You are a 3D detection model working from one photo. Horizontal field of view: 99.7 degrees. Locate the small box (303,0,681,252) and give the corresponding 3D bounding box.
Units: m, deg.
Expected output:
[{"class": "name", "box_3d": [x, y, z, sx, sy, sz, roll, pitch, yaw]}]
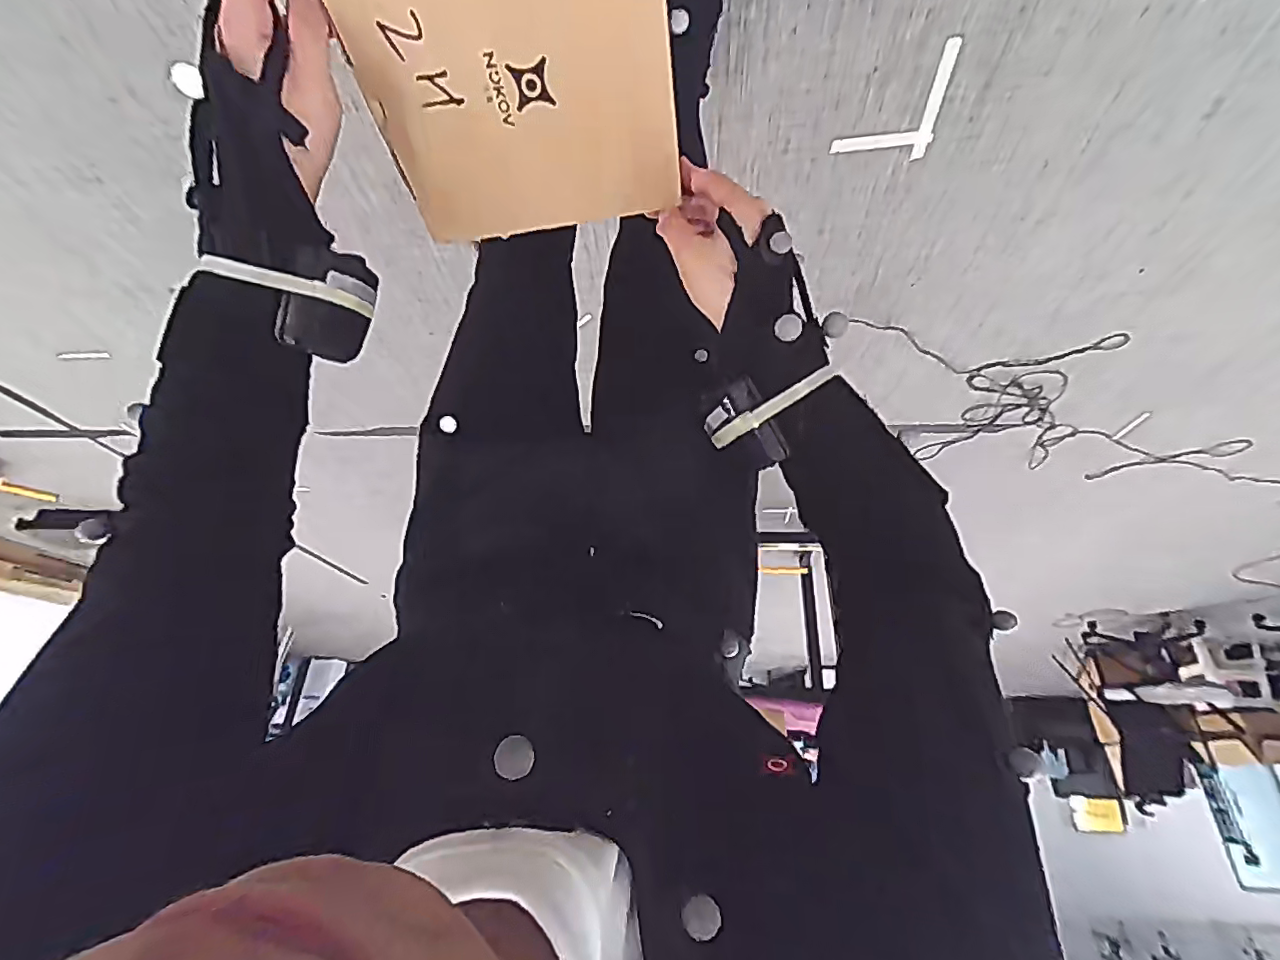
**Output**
[{"class": "small box", "box_3d": [-0.073, -0.276, 0.343, 0.179, 0.176, 0.168, -6, 142, 6]}]
